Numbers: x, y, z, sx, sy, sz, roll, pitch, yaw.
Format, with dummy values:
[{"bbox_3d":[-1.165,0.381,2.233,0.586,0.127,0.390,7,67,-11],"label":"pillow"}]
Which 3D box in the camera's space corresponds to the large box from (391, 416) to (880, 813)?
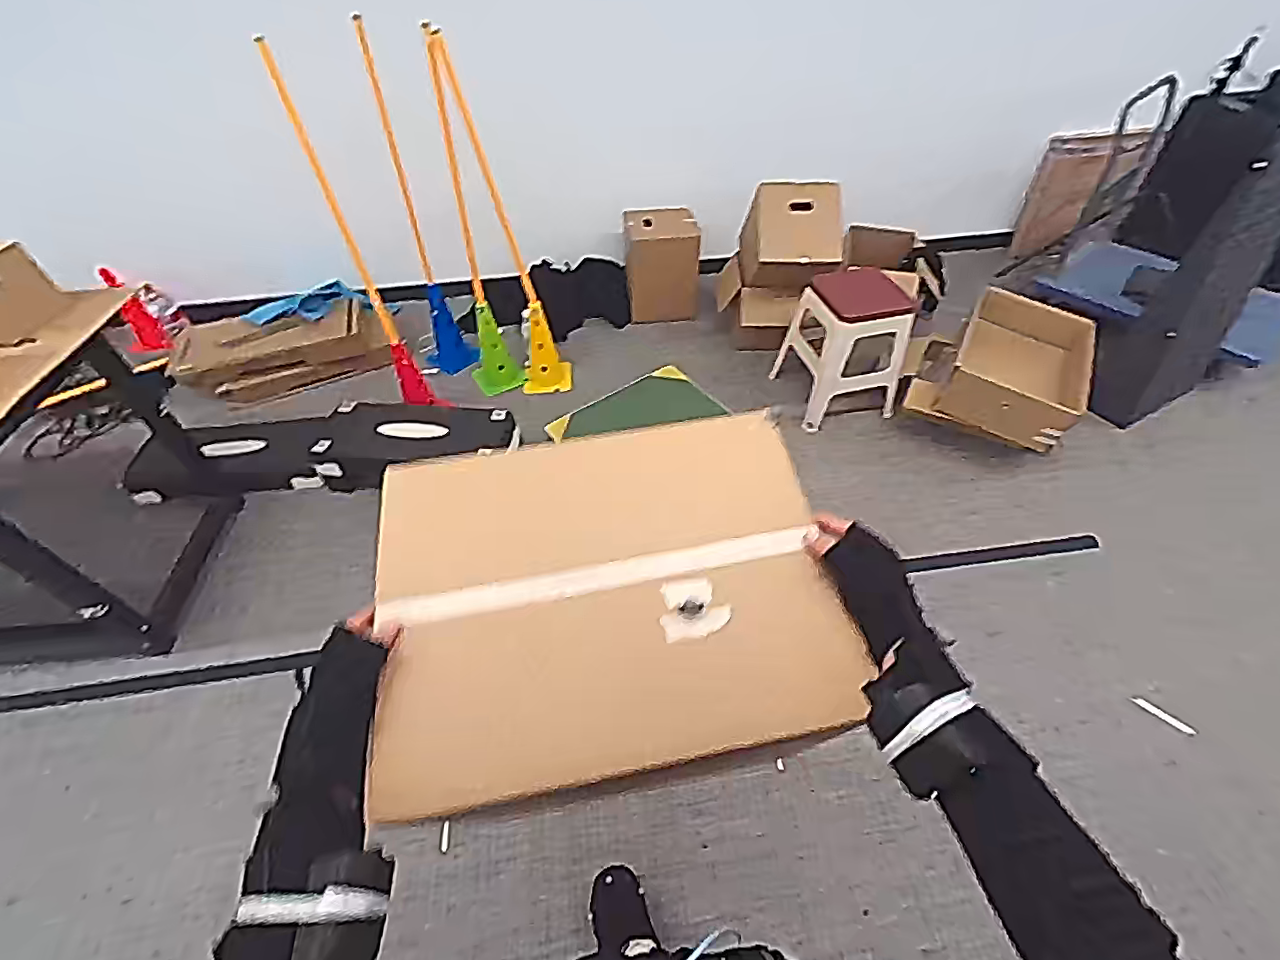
[{"bbox_3d":[-0.026,0.165,0.625,0.408,0.320,0.320,-8,59,-7],"label":"large box"}]
